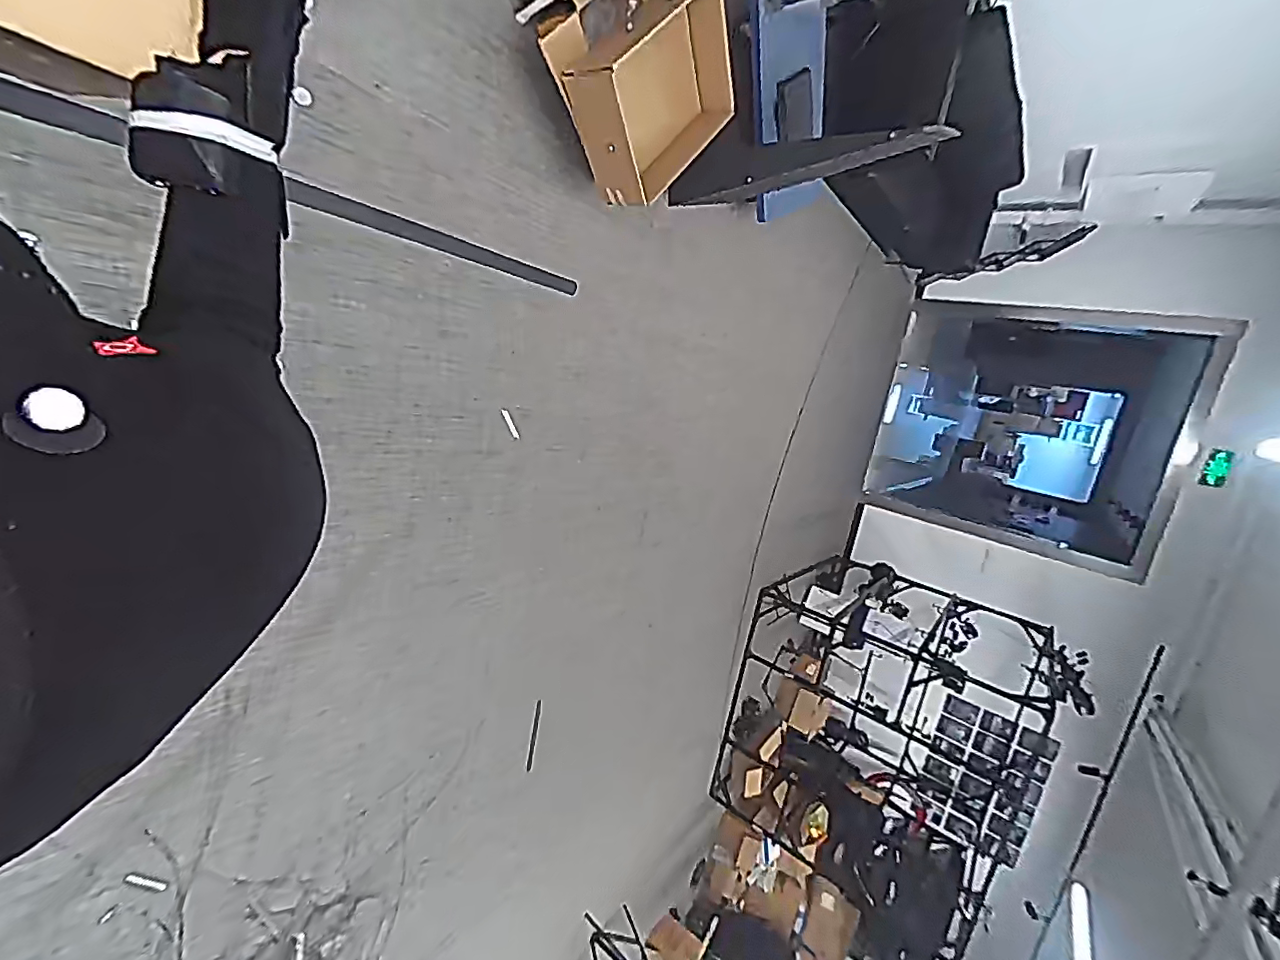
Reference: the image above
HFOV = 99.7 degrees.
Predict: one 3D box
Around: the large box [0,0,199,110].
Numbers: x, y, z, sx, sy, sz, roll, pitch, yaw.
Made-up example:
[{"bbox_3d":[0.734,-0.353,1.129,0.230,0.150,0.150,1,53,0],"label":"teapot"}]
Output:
[{"bbox_3d":[-0.508,-0.439,0.253,0.408,0.320,0.320,-8,119,-57],"label":"large box"}]
